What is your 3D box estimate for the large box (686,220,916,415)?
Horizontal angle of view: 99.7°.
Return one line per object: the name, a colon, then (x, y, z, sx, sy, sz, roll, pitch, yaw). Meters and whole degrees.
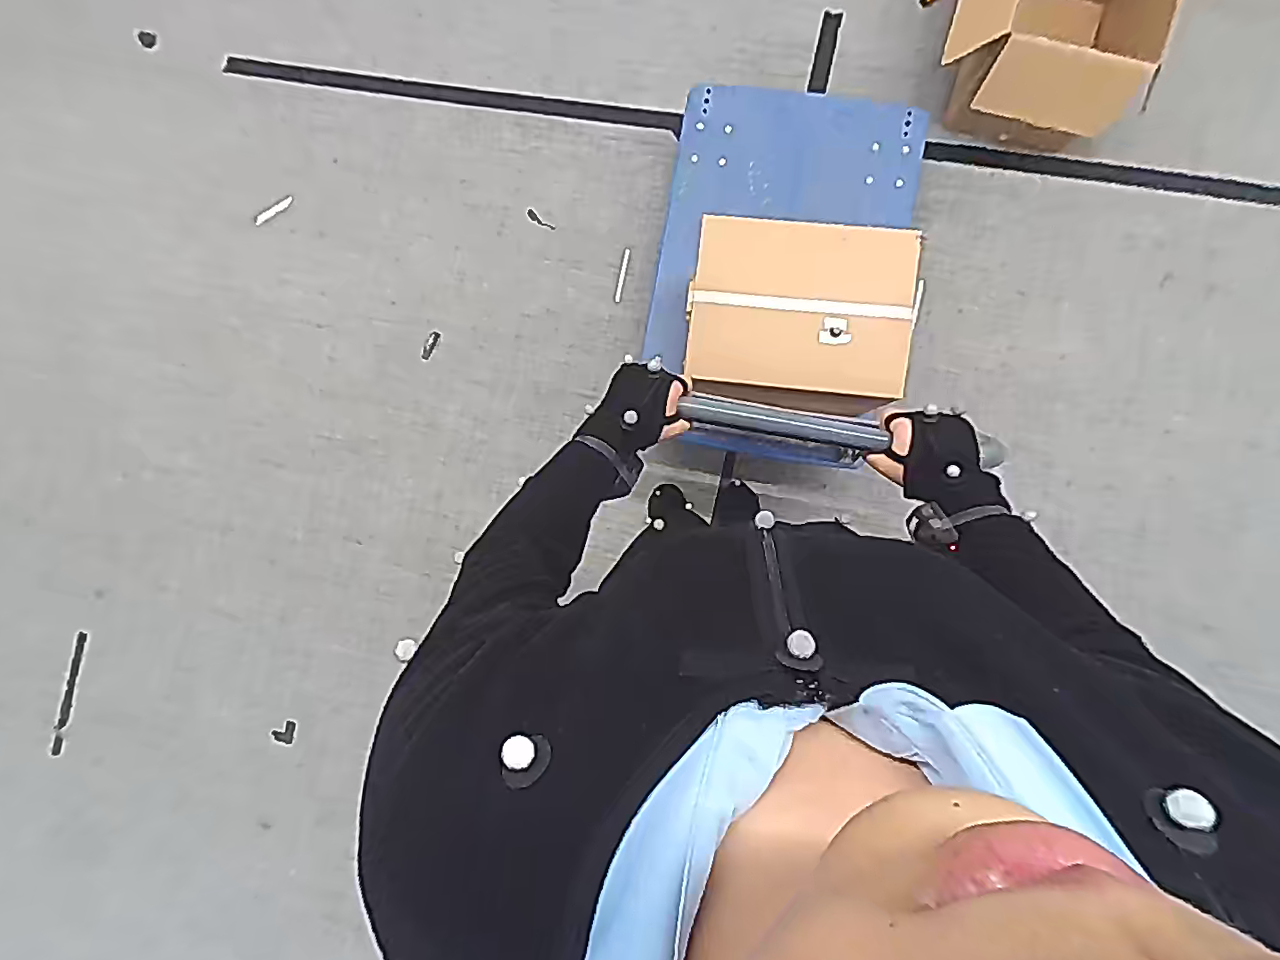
large box: (0.313, -0.326, 1.169, 0.408, 0.320, 0.320, 6, 91, 4)
